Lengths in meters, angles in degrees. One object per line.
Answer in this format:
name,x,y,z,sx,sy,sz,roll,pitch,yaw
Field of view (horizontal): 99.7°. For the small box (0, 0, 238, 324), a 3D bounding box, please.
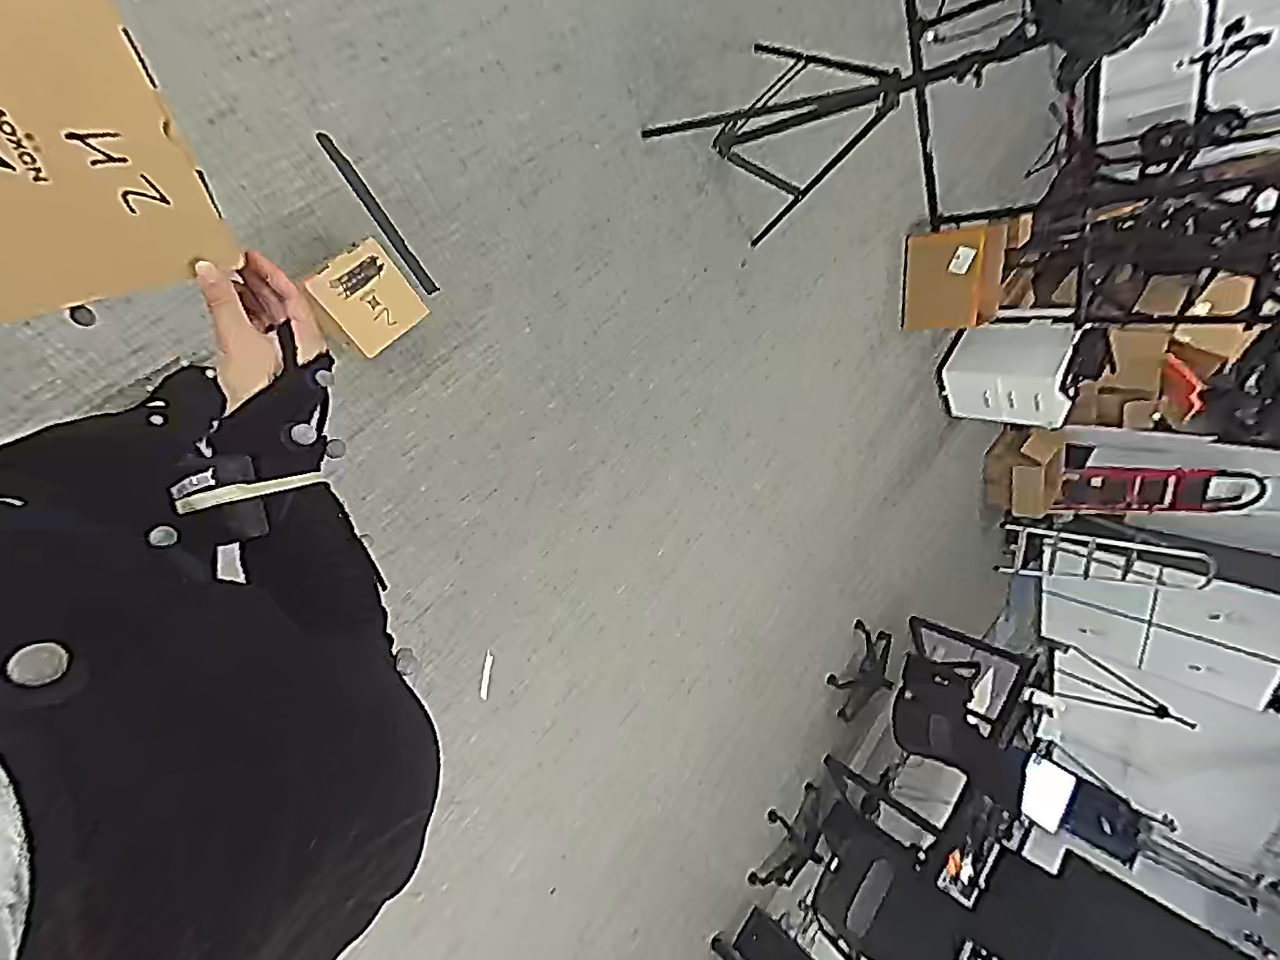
small box,-0.410,-0.200,0.345,0.179,0.176,0.168,-35,131,-34
